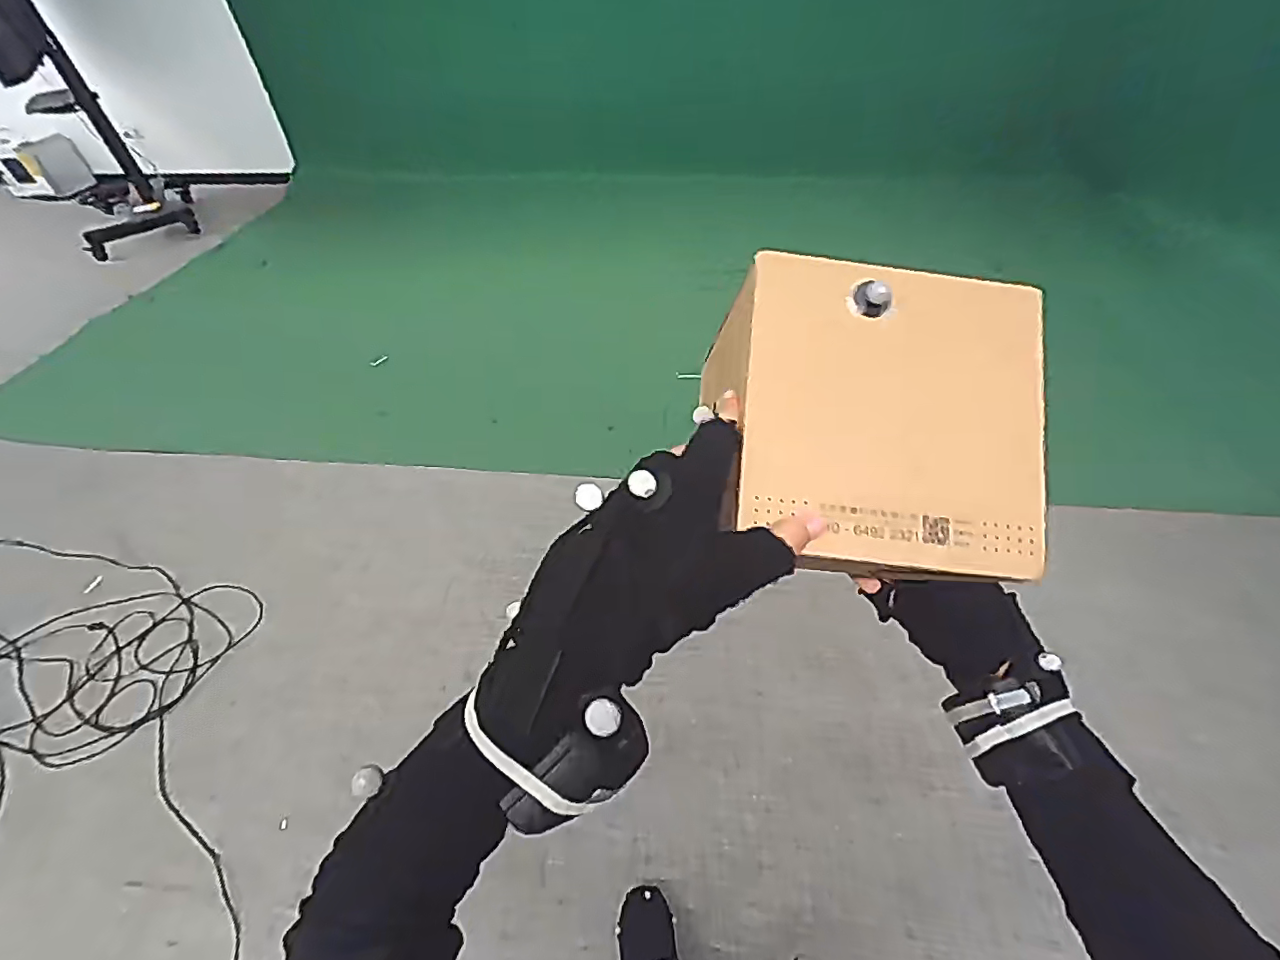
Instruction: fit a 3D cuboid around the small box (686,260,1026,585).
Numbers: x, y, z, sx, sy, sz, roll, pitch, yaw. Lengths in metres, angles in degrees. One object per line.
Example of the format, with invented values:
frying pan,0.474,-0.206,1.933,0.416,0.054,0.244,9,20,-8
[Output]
small box,0.130,-0.022,0.383,0.168,0.179,0.176,7,81,-3
